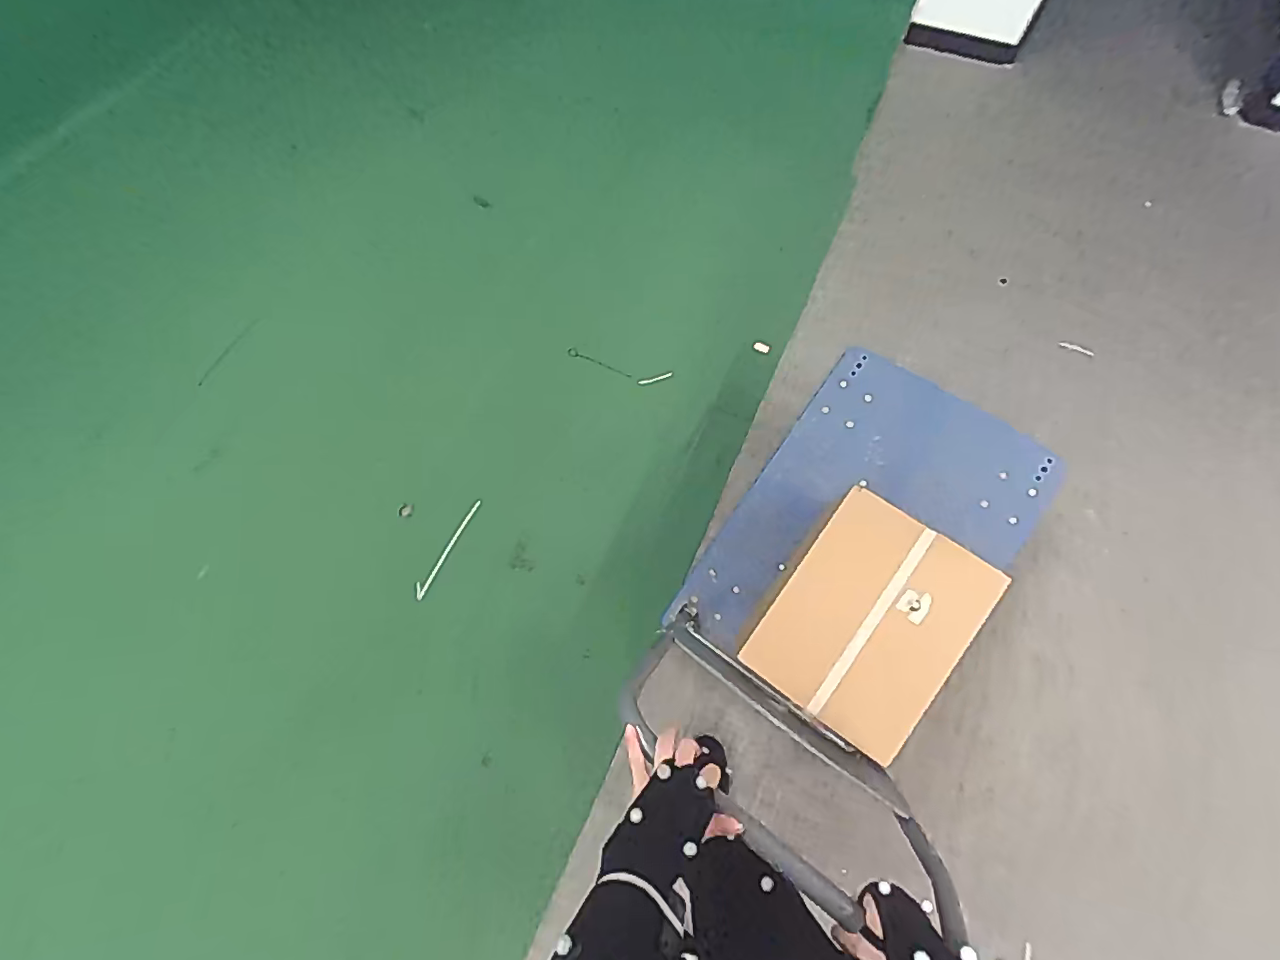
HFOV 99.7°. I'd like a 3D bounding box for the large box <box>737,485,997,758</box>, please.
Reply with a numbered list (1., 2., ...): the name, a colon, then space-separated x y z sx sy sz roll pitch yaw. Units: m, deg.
1. large box: 0.442 0.281 1.148 0.320 0.320 0.408 35 87 13
